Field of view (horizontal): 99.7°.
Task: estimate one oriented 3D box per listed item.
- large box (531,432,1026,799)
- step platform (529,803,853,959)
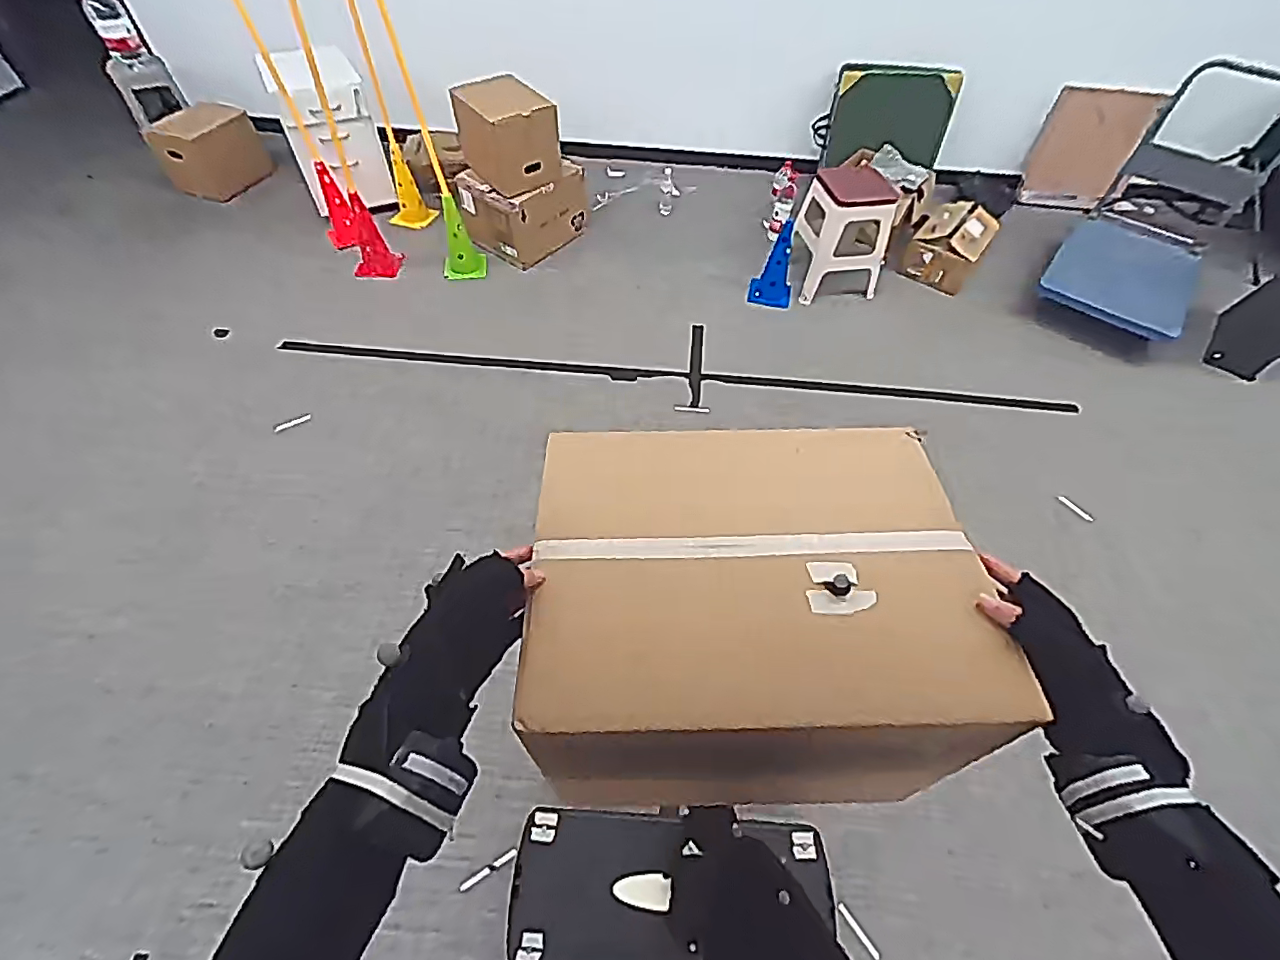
[{"bbox_3d":[0.105,0.162,0.631,0.408,0.320,0.320,-1,50,-1],"label":"large box"},{"bbox_3d":[0.105,0.899,1.195,0.684,0.204,0.286,4,54,-1],"label":"step platform"}]
